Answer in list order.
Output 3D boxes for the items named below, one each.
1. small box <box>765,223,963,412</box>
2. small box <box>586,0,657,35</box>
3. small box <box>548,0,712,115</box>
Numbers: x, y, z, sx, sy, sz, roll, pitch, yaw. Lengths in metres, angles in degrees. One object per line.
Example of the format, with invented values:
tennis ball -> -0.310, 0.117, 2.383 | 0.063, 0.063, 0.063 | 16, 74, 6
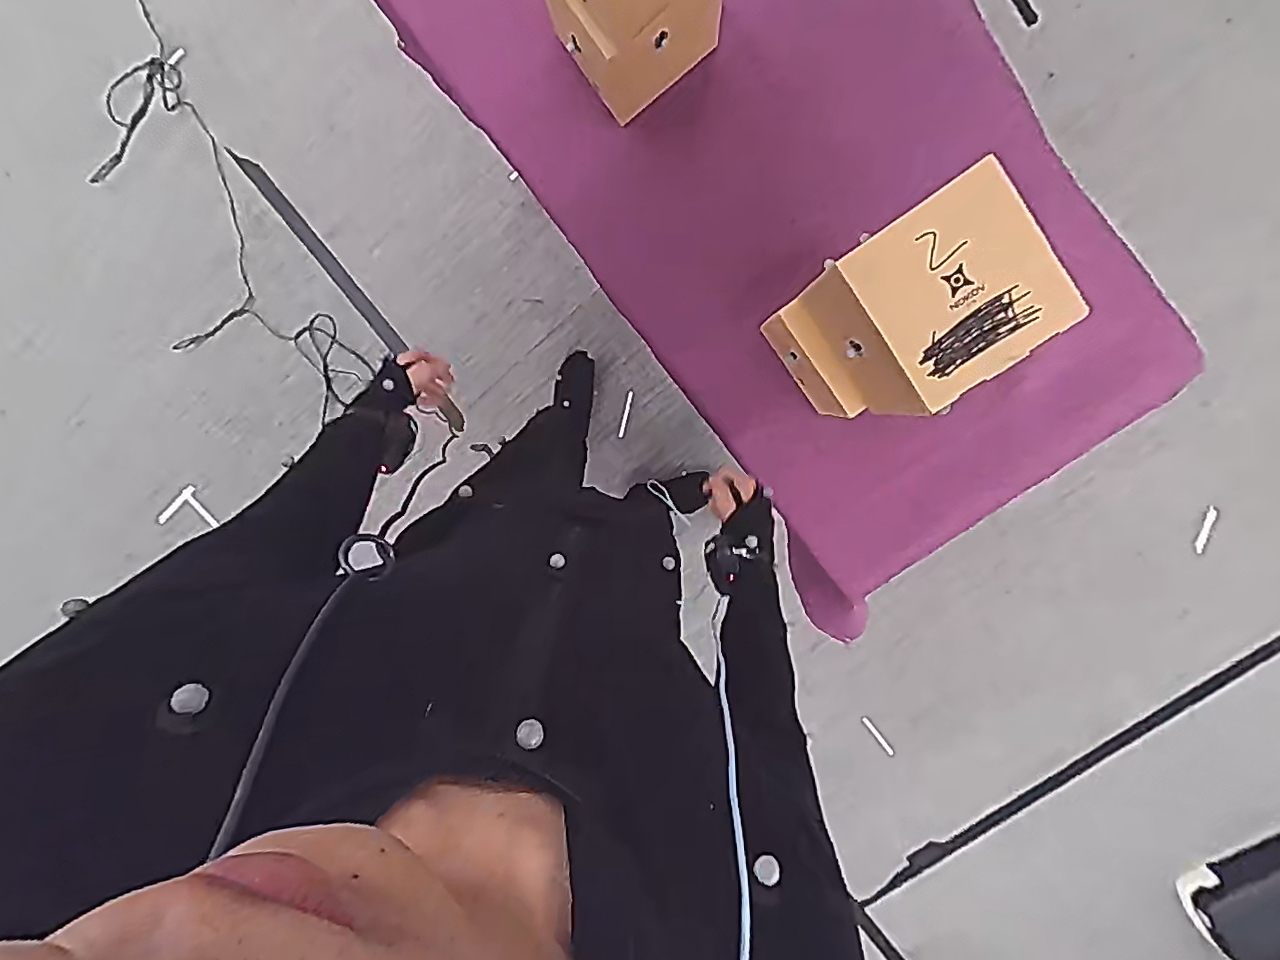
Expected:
small box -> 0.290, -0.209, 0.749 | 0.179, 0.176, 0.168 | -36, 95, 7
small box -> -0.019, -0.612, 0.536 | 0.179, 0.176, 0.168 | -40, 95, 8
small box -> -0.015, -0.628, 0.700 | 0.179, 0.176, 0.168 | -35, 96, 8
